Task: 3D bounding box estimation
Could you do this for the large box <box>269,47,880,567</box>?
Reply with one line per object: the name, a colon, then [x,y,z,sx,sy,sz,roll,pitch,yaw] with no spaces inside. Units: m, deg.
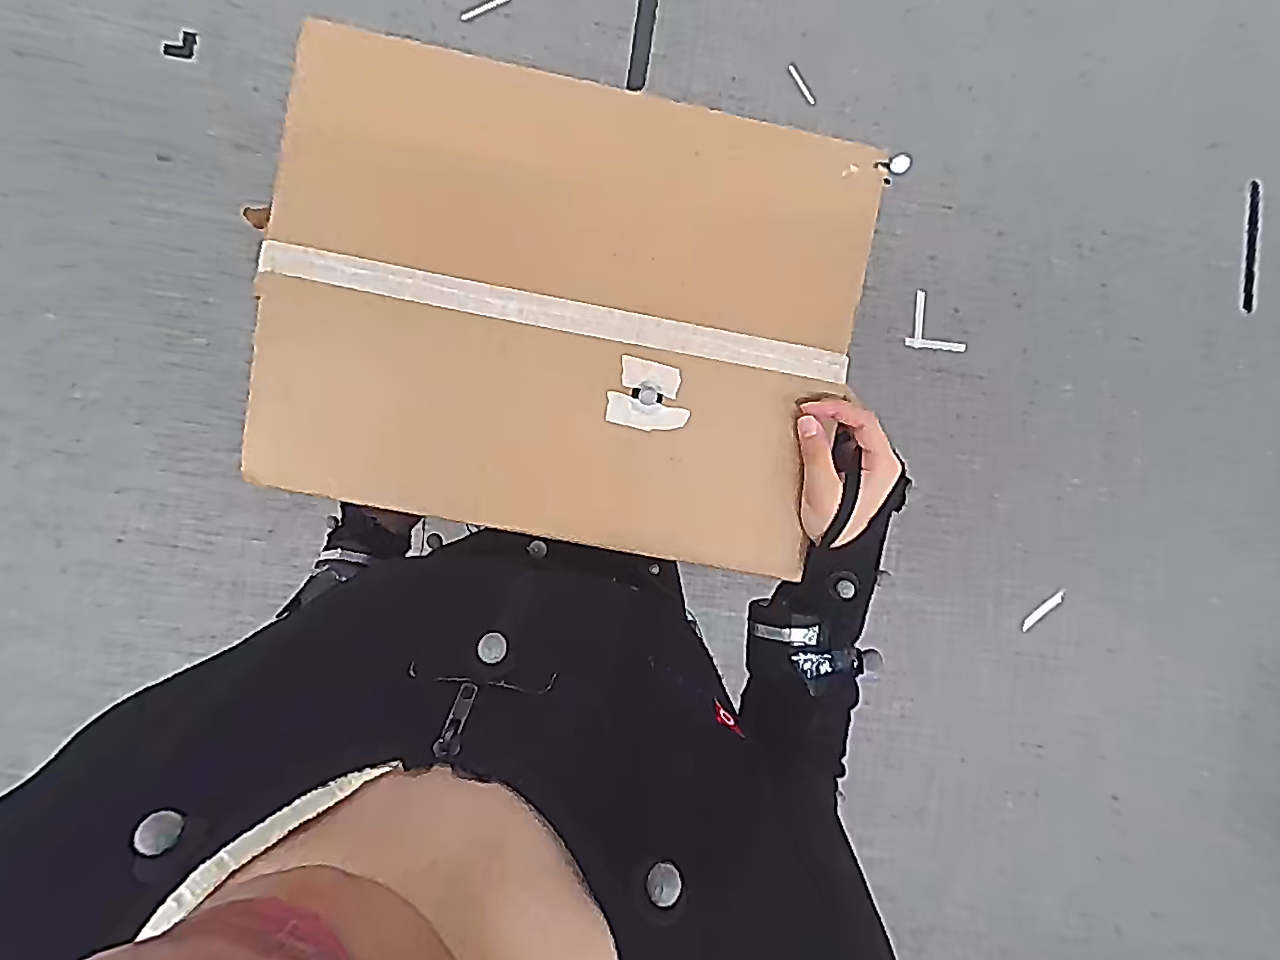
large box: [-0.054,-0.124,0.534,0.408,0.320,0.320,10,94,-4]
